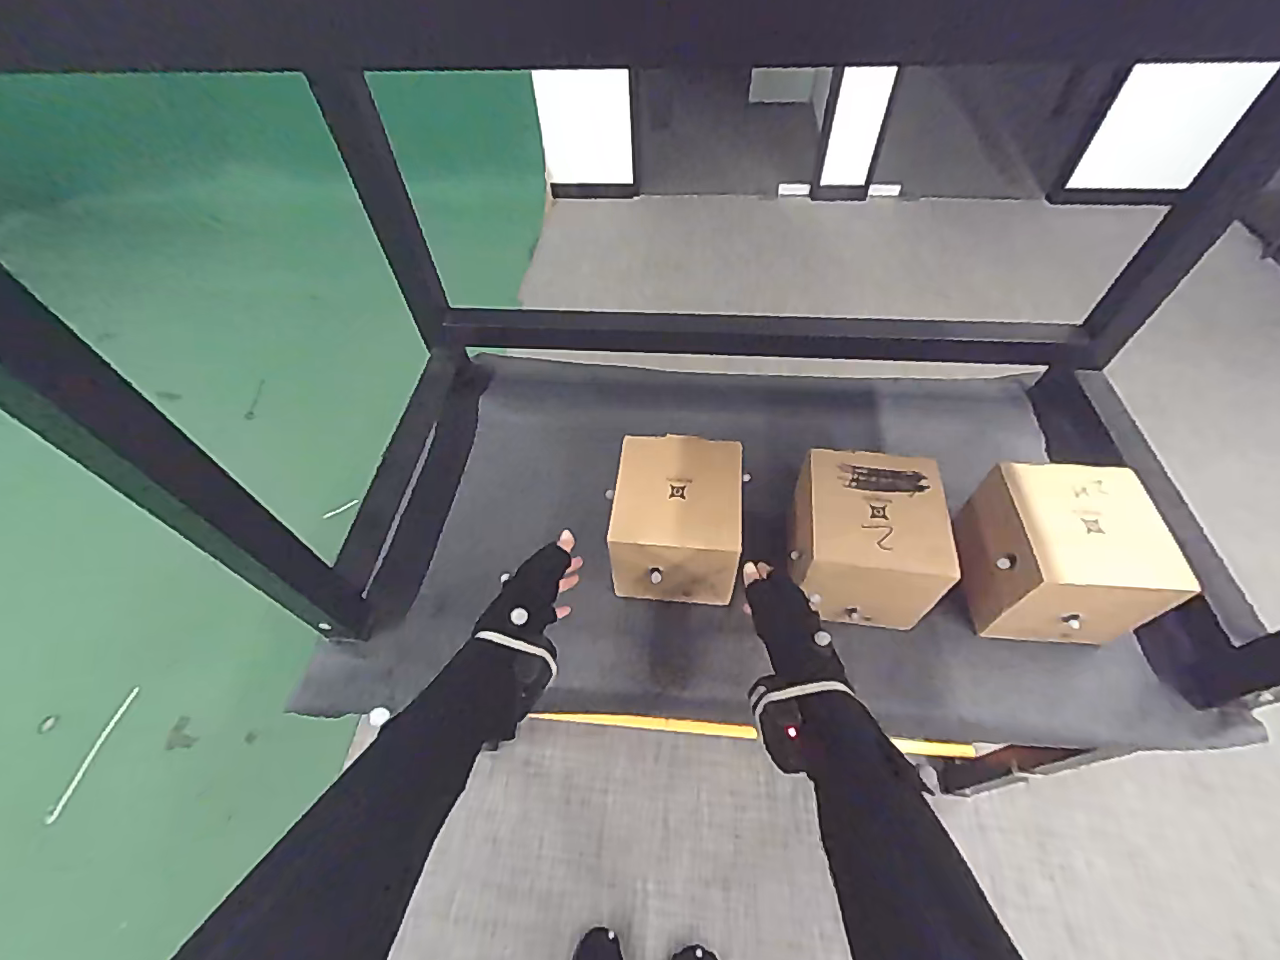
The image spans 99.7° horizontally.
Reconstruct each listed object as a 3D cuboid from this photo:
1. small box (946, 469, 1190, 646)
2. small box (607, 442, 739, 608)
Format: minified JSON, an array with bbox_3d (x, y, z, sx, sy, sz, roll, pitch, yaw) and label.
[{"bbox_3d":[0.540,0.106,0.717,0.168,0.176,0.179,3,52,5],"label":"small box"},{"bbox_3d":[0.052,0.068,0.772,0.168,0.176,0.179,3,53,5],"label":"small box"}]
